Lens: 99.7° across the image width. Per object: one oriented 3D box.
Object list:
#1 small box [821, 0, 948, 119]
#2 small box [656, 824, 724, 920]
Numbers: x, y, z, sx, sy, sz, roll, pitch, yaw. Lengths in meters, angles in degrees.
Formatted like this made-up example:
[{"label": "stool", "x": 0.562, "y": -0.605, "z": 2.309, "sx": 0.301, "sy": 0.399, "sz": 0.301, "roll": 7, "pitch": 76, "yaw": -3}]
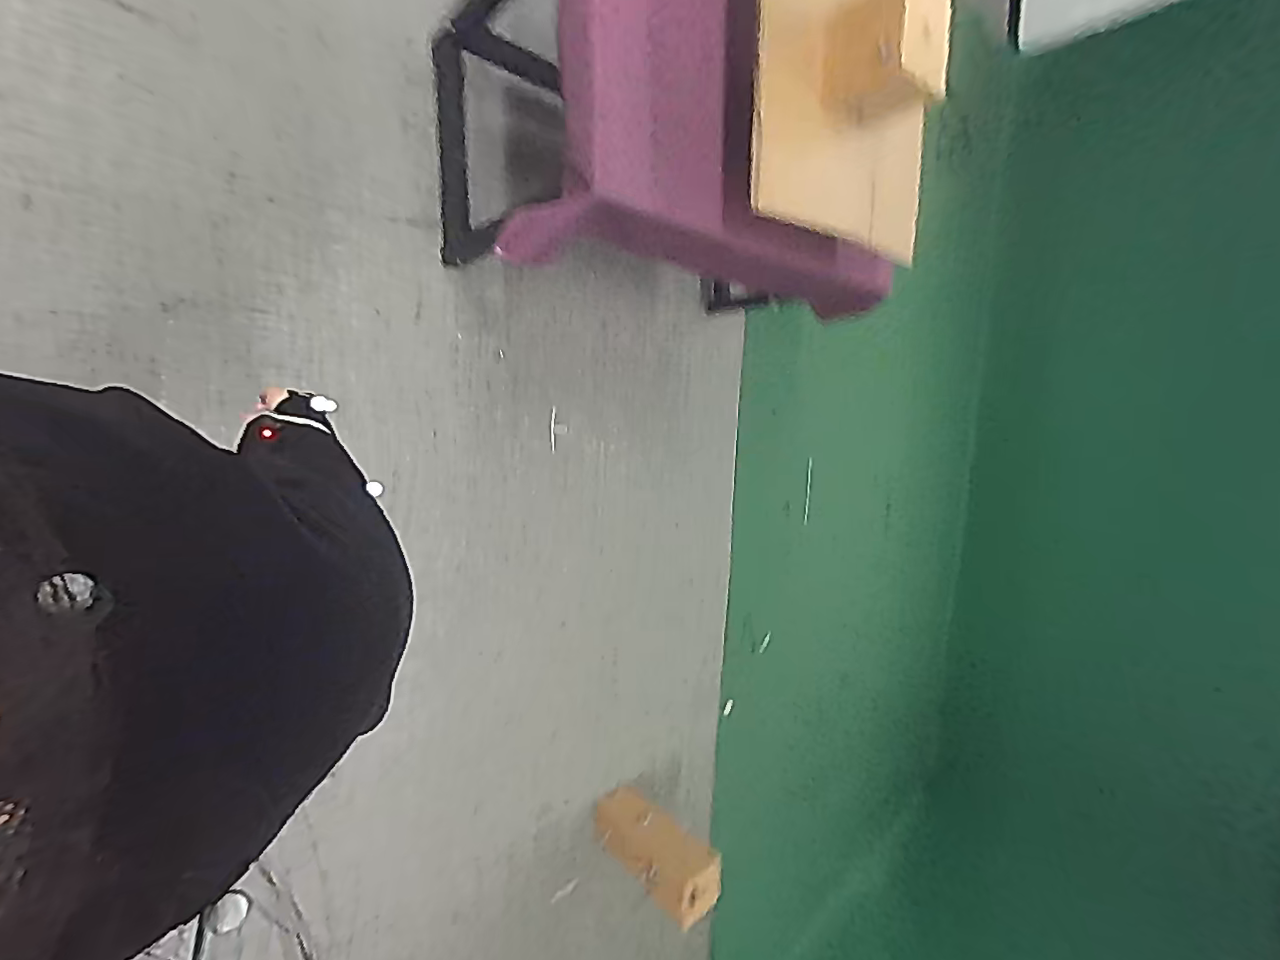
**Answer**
[{"label": "small box", "x": 0.473, "y": -0.854, "z": 1.058, "sx": 0.168, "sy": 0.176, "sz": 0.179, "roll": -6, "pitch": 102, "yaw": -35}, {"label": "small box", "x": 0.168, "y": 1.344, "z": 1.866, "sx": 0.179, "sy": 0.176, "sz": 0.168, "roll": -6, "pitch": 99, "yaw": -42}]
